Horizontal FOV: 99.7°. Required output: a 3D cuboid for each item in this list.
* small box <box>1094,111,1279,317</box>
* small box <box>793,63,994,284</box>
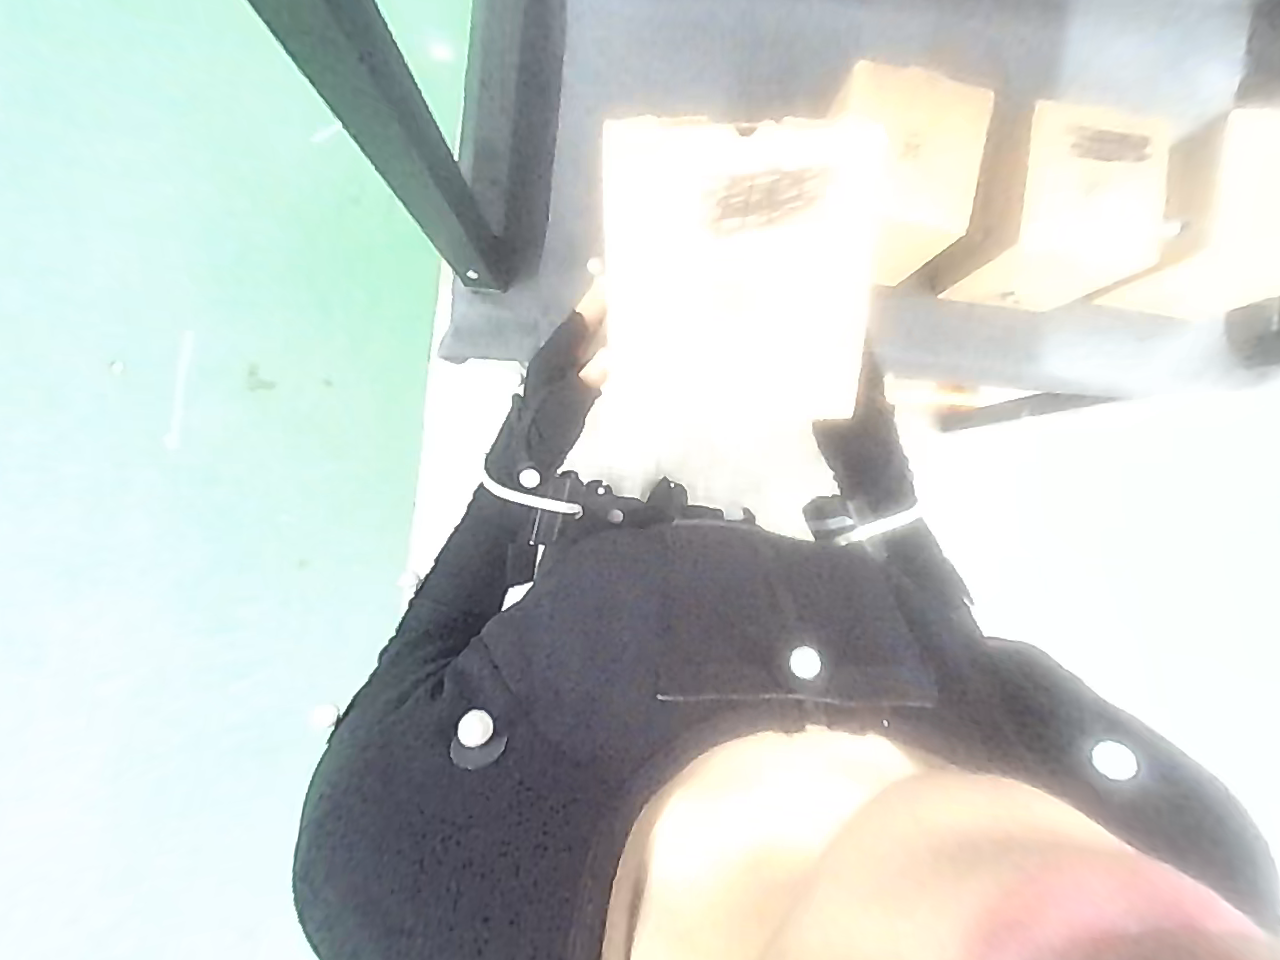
[{"bbox_3d":[0.750,-0.332,0.711,0.168,0.176,0.179,9,87,-2],"label":"small box"},{"bbox_3d":[0.311,-0.379,0.703,0.168,0.176,0.179,12,88,-1],"label":"small box"}]
